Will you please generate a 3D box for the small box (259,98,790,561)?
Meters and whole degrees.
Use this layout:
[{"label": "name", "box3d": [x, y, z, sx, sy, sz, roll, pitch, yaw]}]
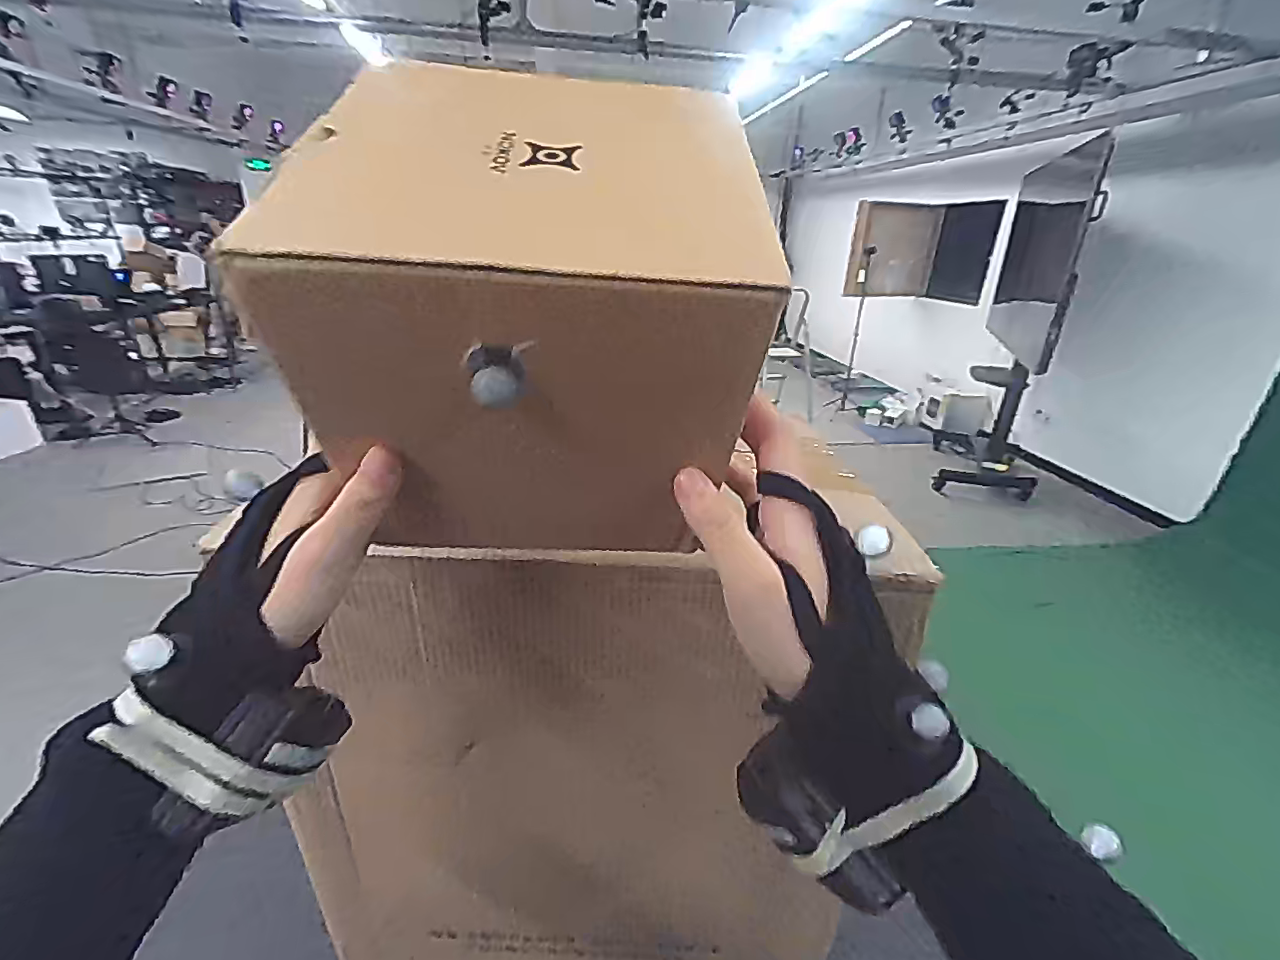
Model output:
[{"label": "small box", "box3d": [-0.043, -0.069, 0.287, 0.179, 0.176, 0.168, 2, 51, -5]}]
